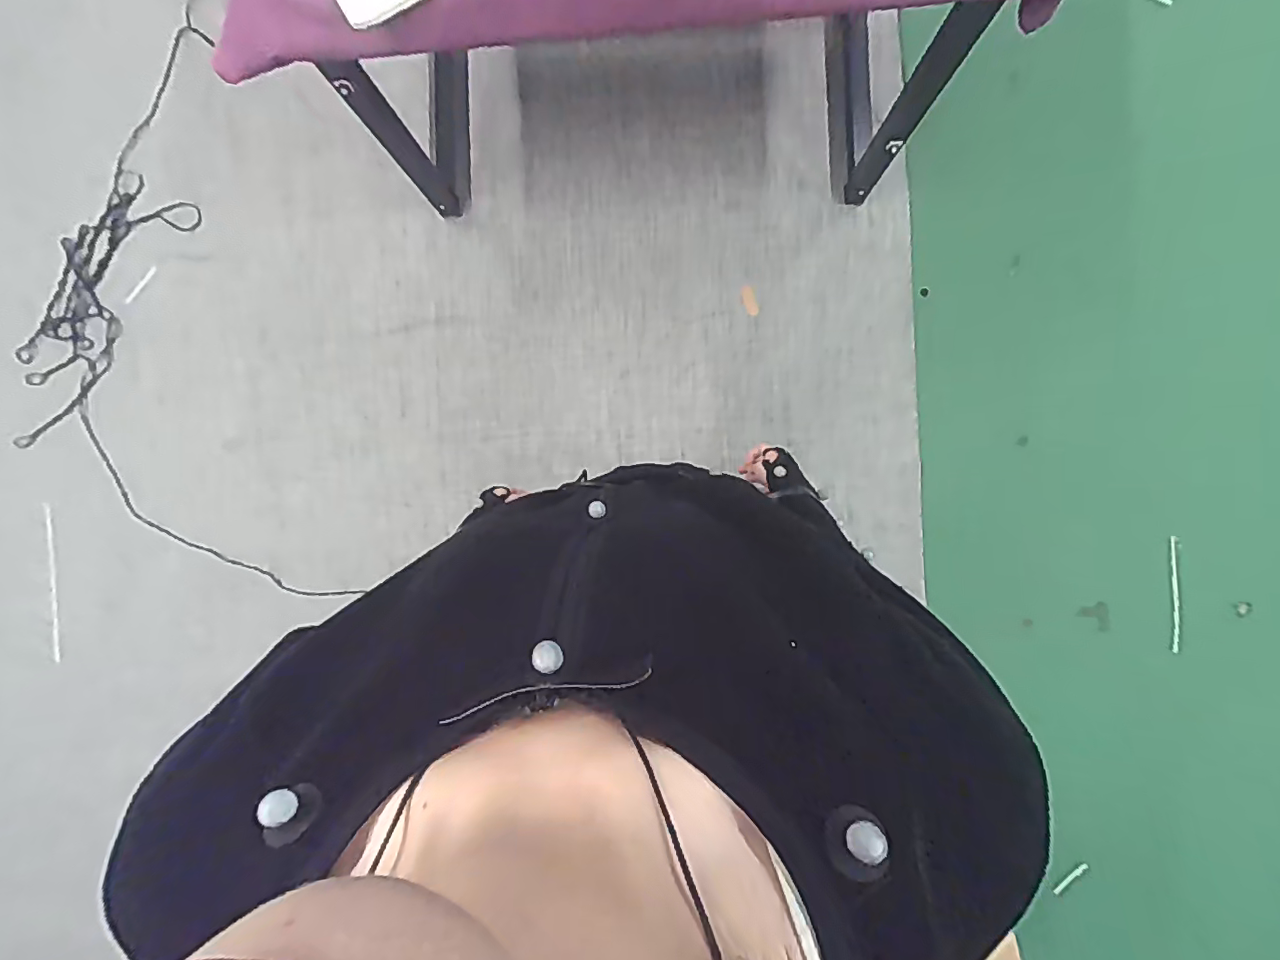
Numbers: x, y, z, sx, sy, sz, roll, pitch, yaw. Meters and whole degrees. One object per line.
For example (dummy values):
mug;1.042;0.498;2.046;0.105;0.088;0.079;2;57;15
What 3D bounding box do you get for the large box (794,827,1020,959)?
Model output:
large box;0.645;1.134;1.319;0.408;0.320;0.320;-16;89;1
